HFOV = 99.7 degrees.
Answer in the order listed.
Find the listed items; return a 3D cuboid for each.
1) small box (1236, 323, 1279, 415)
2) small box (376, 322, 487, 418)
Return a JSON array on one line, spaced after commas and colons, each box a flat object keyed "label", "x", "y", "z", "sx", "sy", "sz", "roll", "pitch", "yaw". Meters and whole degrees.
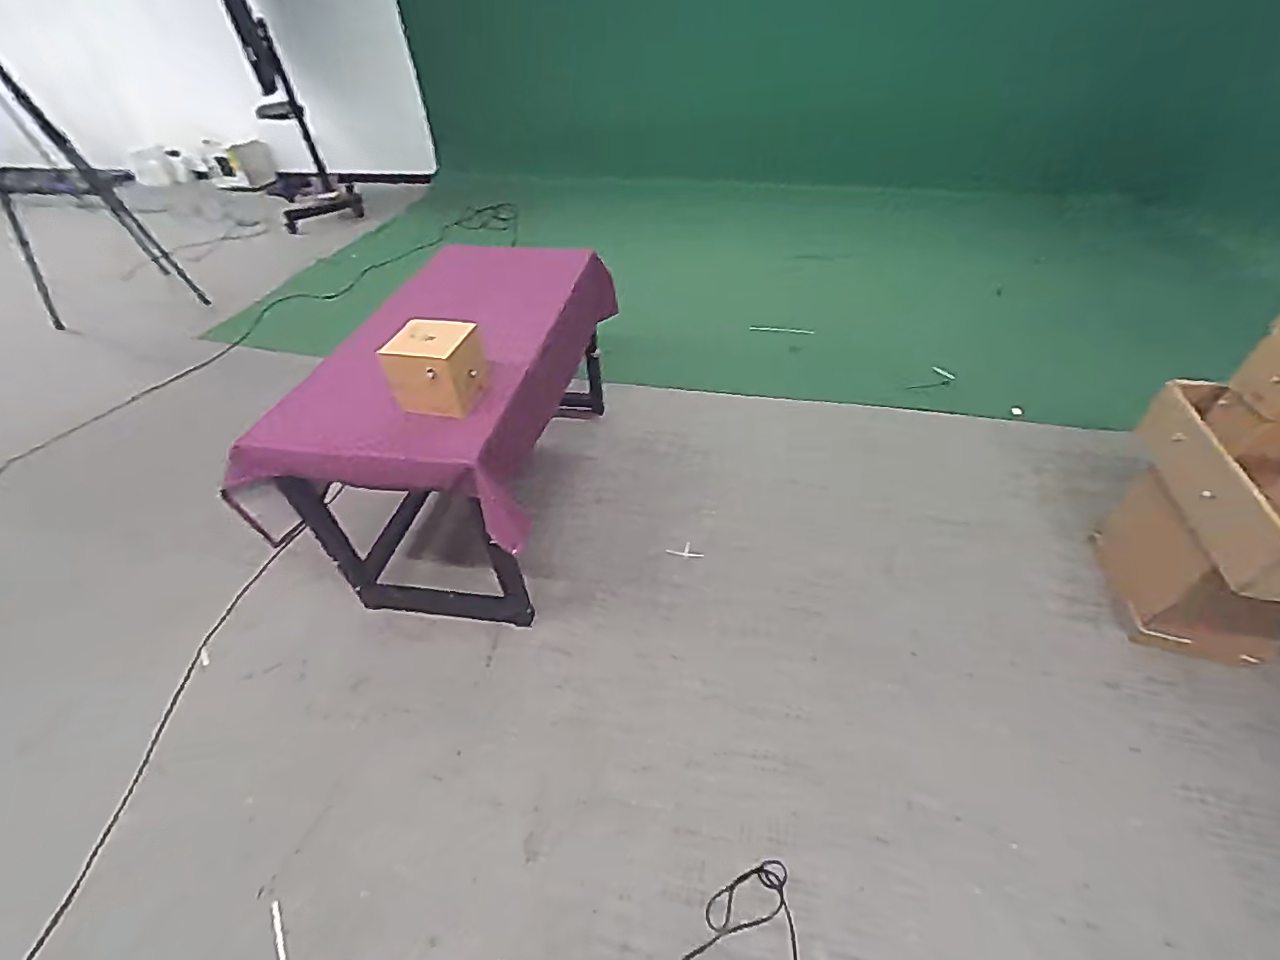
[{"label": "small box", "x": 1.623, "y": -0.262, "z": 1.308, "sx": 0.179, "sy": 0.176, "sz": 0.168, "roll": 5, "pitch": 45, "yaw": 9}, {"label": "small box", "x": -0.496, "y": -0.267, "z": 1.321, "sx": 0.179, "sy": 0.176, "sz": 0.168, "roll": 6, "pitch": 44, "yaw": 11}]
